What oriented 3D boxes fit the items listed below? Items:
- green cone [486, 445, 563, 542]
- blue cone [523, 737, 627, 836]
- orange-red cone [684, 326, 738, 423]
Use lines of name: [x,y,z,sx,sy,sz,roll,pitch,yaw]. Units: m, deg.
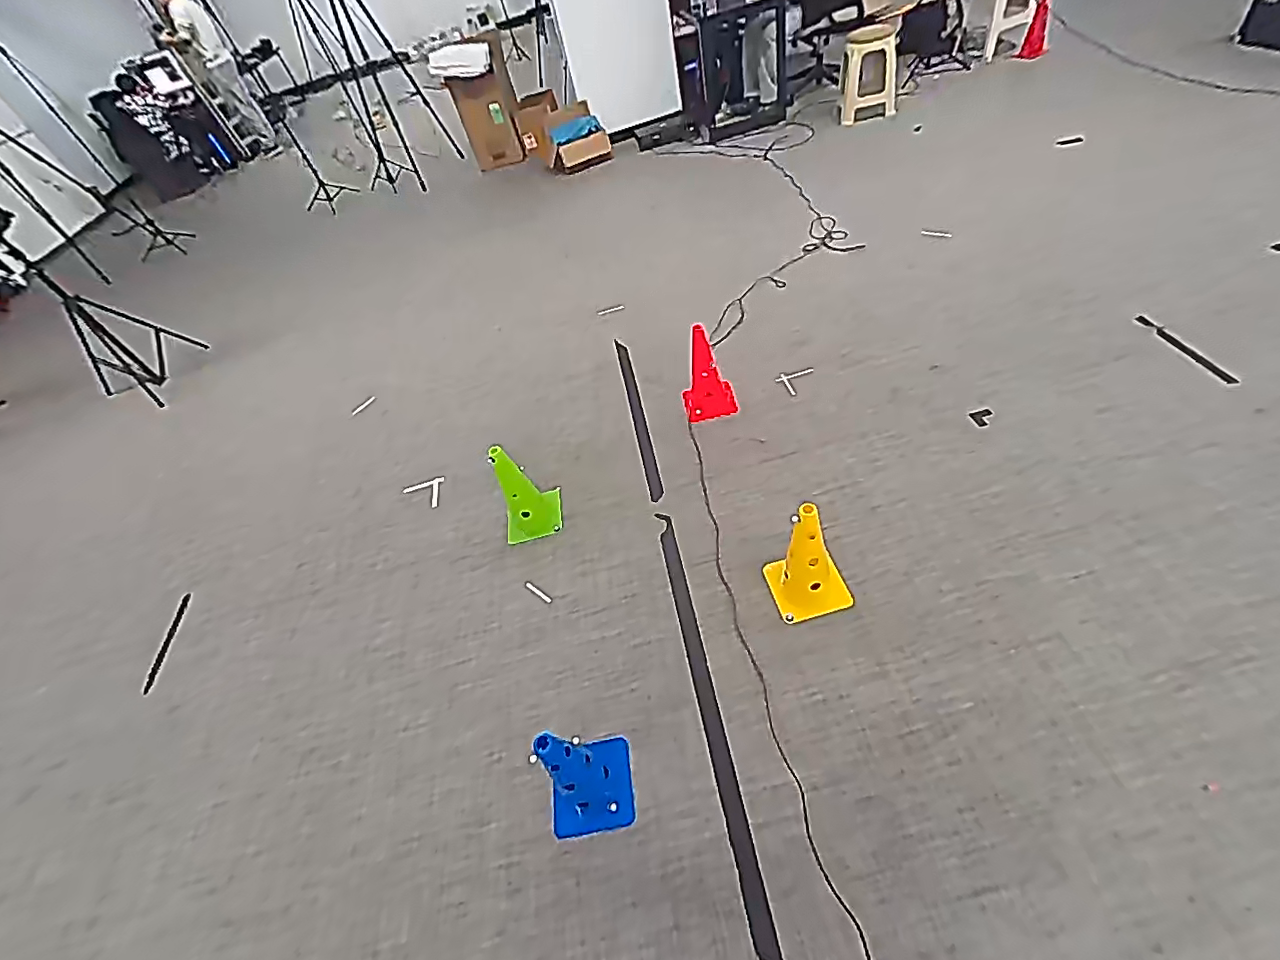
green cone: [-0.418,0.014,1.825,0.202,0.368,0.200,-16,47,4]
blue cone: [-0.164,0.647,1.208,0.192,0.380,0.193,-13,47,6]
orange-red cone: [0.245,-0.418,2.020,0.199,0.360,0.198,-11,49,5]
